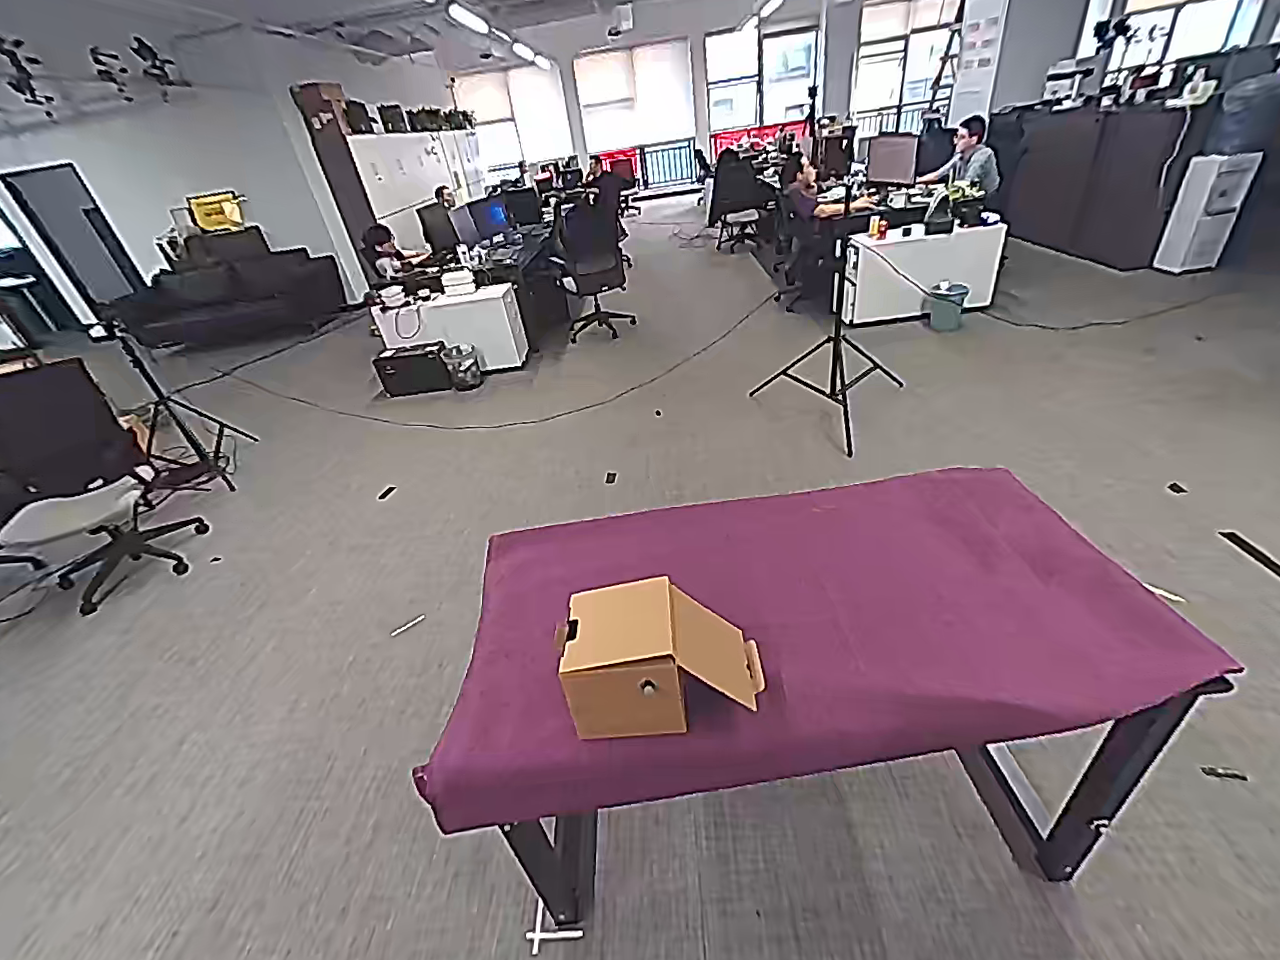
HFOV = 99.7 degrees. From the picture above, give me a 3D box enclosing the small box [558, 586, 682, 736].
[{"bbox_3d":[-0.022,0.300,0.895,0.179,0.176,0.168,-7,31,5],"label":"small box"}]
